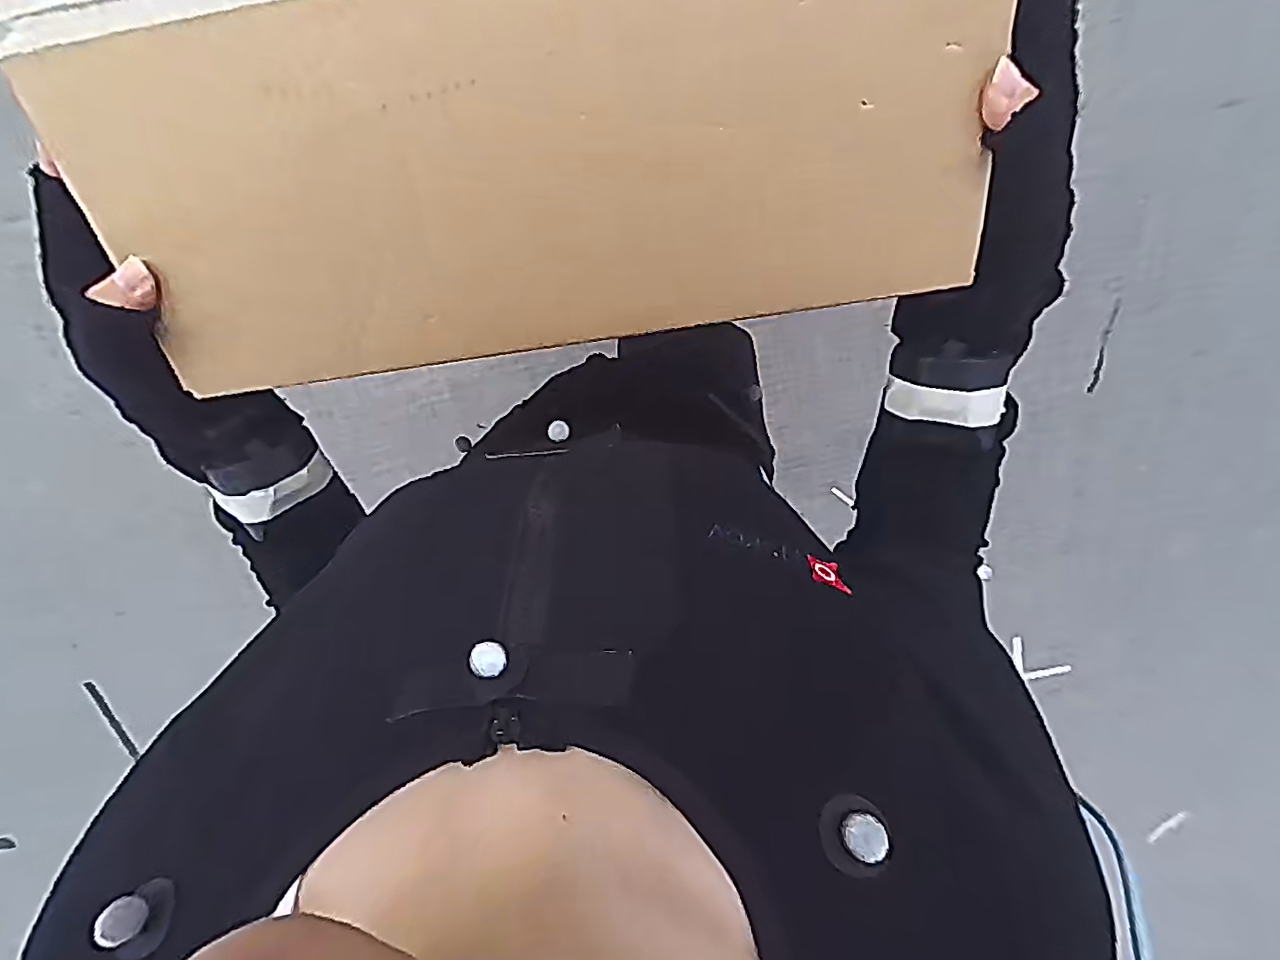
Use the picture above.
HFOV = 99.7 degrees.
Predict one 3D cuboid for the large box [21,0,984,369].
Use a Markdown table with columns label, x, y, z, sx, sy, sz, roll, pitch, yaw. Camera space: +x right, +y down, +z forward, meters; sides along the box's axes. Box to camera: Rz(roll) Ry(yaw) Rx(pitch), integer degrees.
| label | x | y | z | sx | sy | sz | roll | pitch | yaw |
| --- | --- | --- | --- | --- | --- | --- | --- | --- | --- |
| large box | -0.063 | -0.291 | 0.344 | 0.408 | 0.320 | 0.320 | -8 | 119 | 4 |
